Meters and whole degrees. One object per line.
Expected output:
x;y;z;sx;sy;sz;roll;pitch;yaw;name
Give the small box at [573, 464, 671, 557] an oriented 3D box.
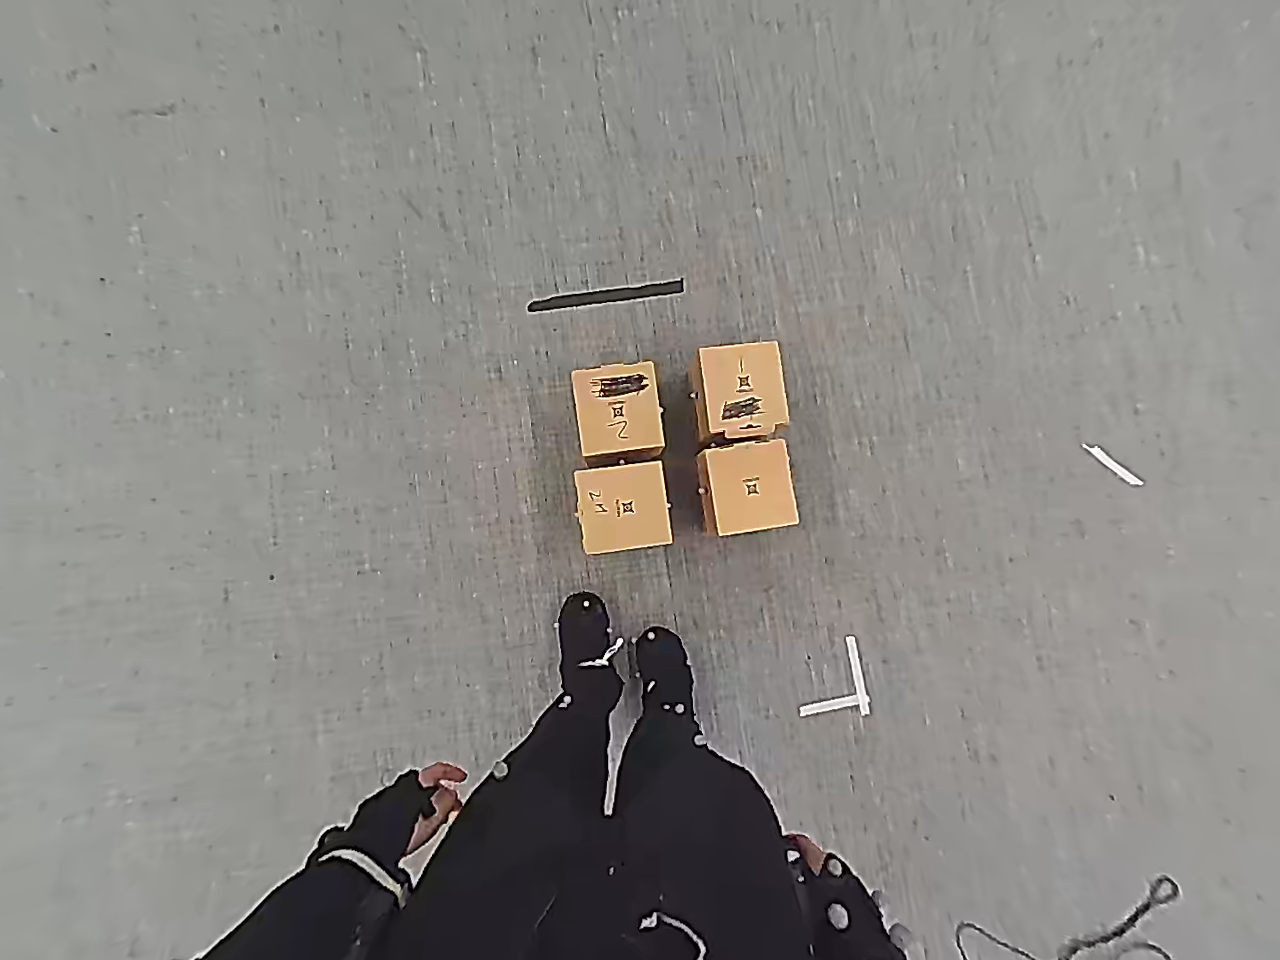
-0.040;0.062;1.121;0.179;0.176;0.168;-7;86;-4;small box
